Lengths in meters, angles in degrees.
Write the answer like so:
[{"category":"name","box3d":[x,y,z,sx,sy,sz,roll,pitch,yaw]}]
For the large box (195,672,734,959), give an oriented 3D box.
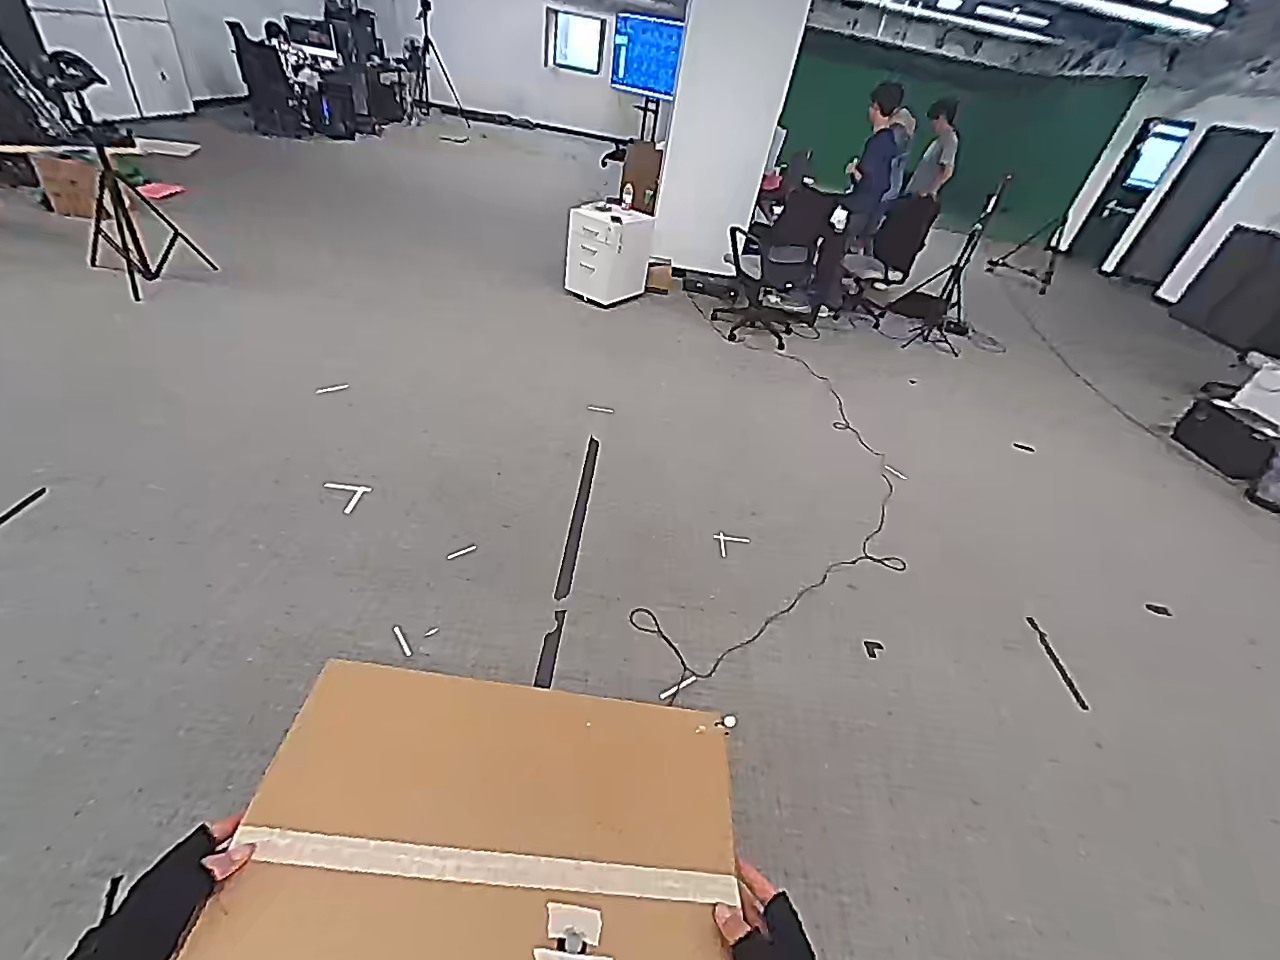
[{"category":"large box","box3d":[-0.149,0.433,0.545,0.408,0.320,0.320,11,41,-7]}]
